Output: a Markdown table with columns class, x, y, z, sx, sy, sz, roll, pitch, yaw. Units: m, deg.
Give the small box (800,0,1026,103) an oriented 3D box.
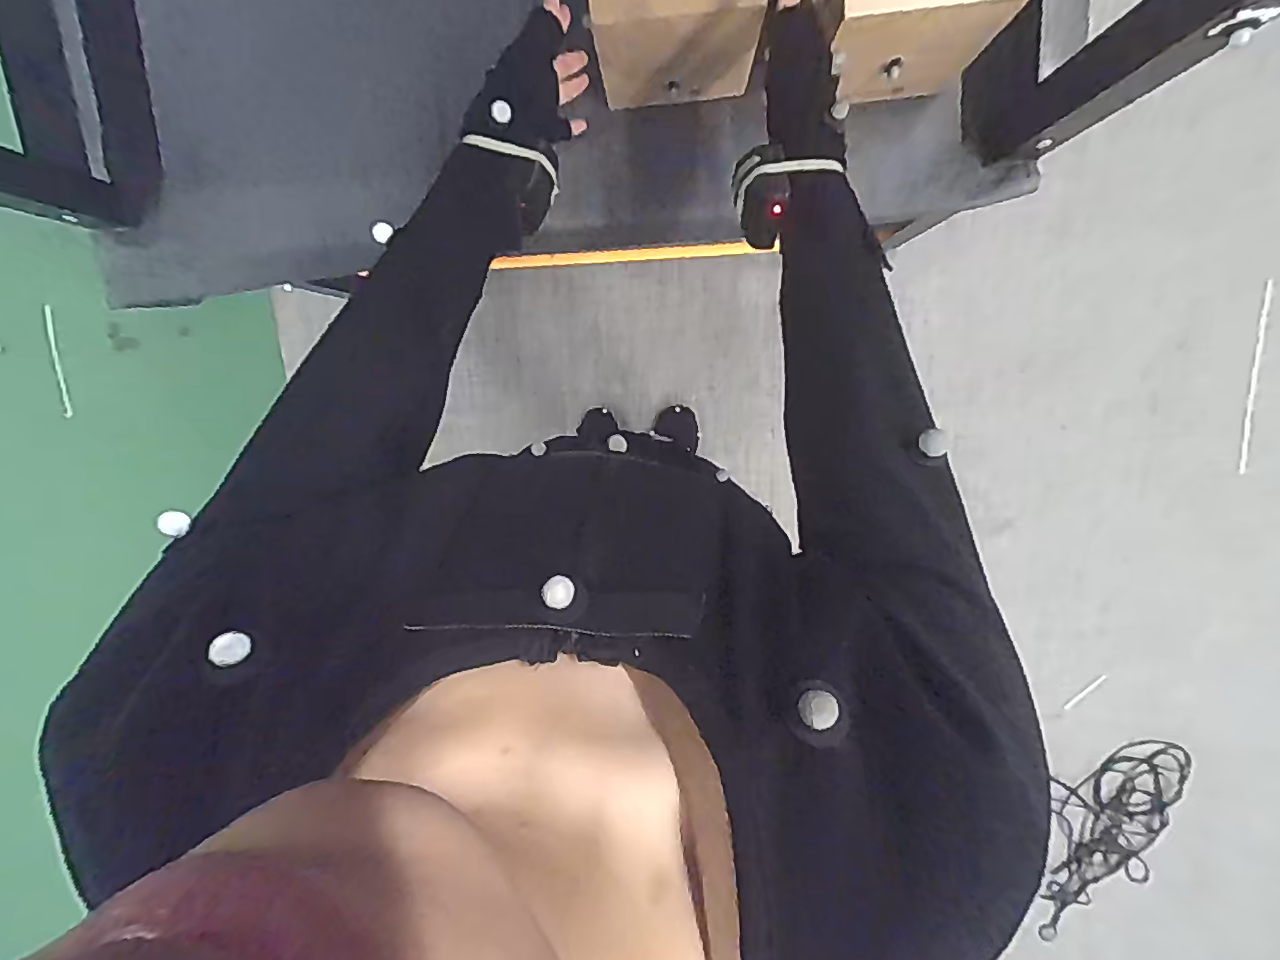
| class | x | y | z | sx | sy | sz | roll | pitch | yaw |
| --- | --- | --- | --- | --- | --- | --- | --- | --- | --- |
| small box | 0.266 | -0.517 | 0.552 | 0.168 | 0.176 | 0.179 | -4 | 100 | 4 |
